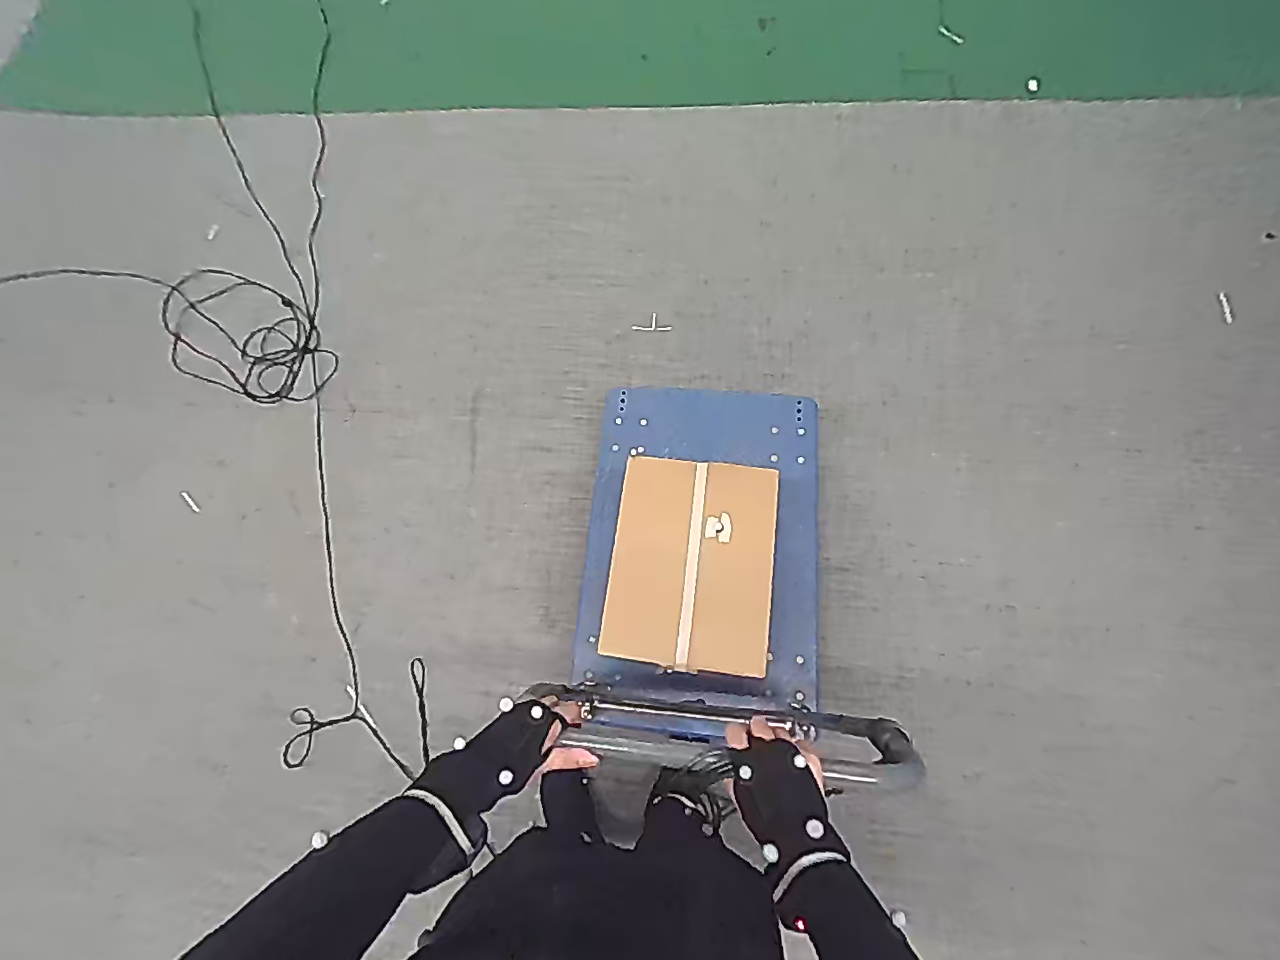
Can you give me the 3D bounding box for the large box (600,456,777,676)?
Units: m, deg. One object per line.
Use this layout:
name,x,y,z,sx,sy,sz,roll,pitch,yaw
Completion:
large box,0.112,0.200,1.181,0.320,0.320,0.408,7,71,6
